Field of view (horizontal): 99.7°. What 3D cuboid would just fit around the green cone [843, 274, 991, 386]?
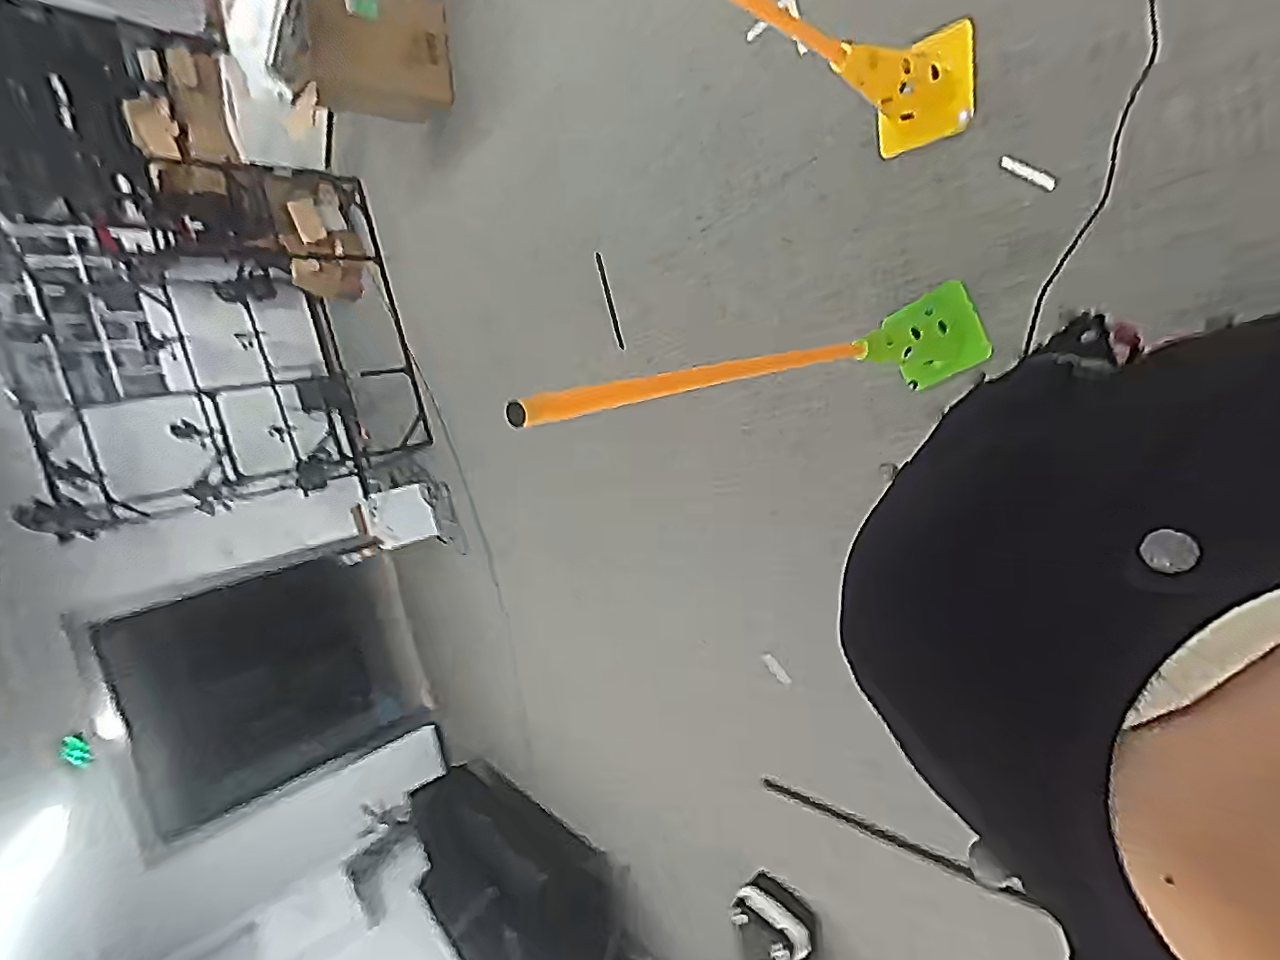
[{"bbox_3d":[0.557,-0.308,1.164,0.200,0.368,0.202,-31,78,52],"label":"green cone"}]
